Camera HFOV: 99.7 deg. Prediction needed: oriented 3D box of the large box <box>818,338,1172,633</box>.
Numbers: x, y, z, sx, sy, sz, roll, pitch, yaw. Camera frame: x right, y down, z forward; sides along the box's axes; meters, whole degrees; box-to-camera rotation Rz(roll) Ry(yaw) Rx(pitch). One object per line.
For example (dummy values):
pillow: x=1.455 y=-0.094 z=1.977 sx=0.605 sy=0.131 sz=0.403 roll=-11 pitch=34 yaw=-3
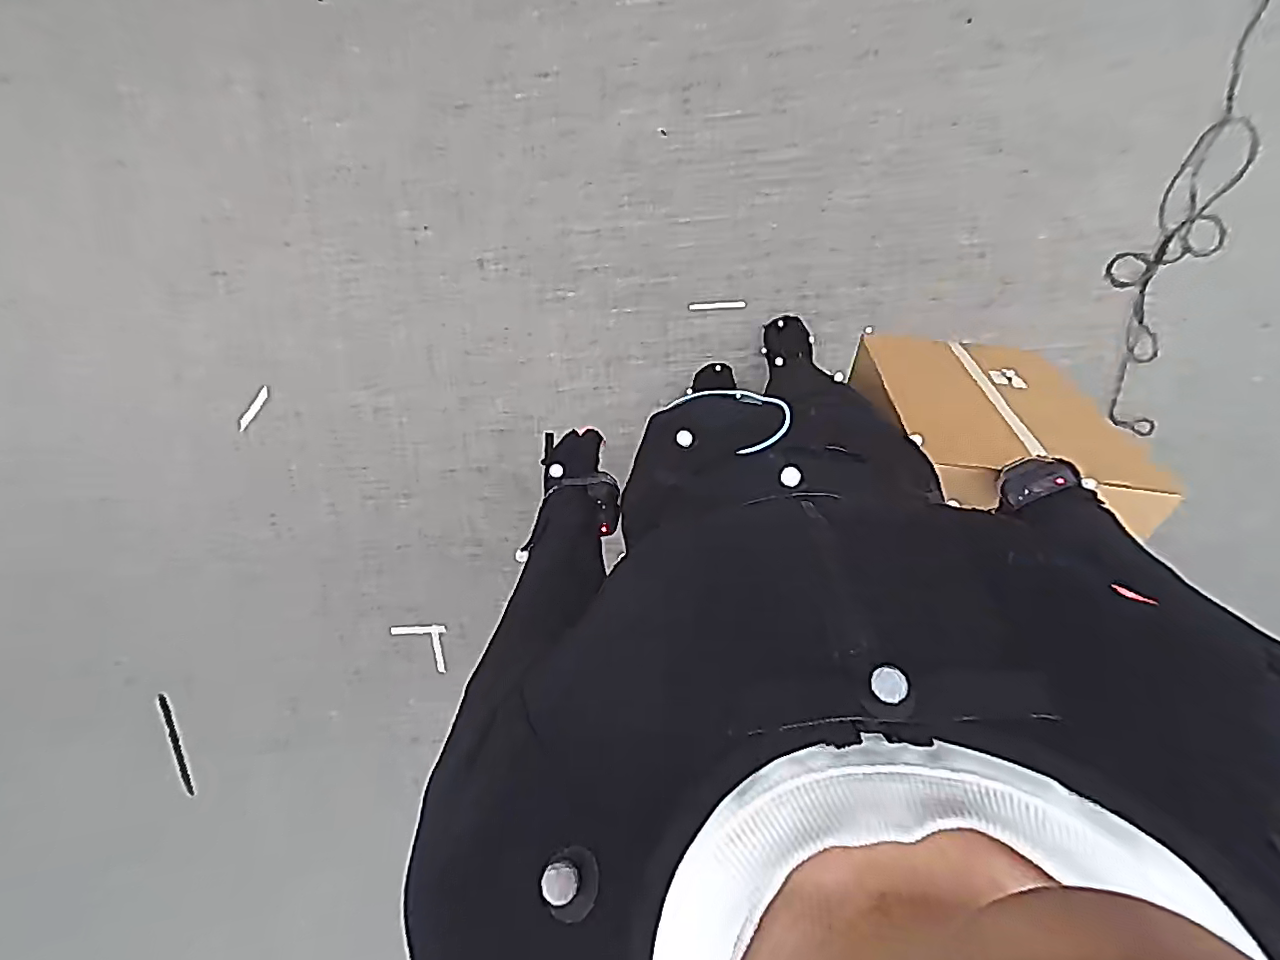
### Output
large box: x=0.519 y=-0.007 z=0.916 sx=0.320 sy=0.408 sz=0.320 roll=8 pitch=127 yaw=3
